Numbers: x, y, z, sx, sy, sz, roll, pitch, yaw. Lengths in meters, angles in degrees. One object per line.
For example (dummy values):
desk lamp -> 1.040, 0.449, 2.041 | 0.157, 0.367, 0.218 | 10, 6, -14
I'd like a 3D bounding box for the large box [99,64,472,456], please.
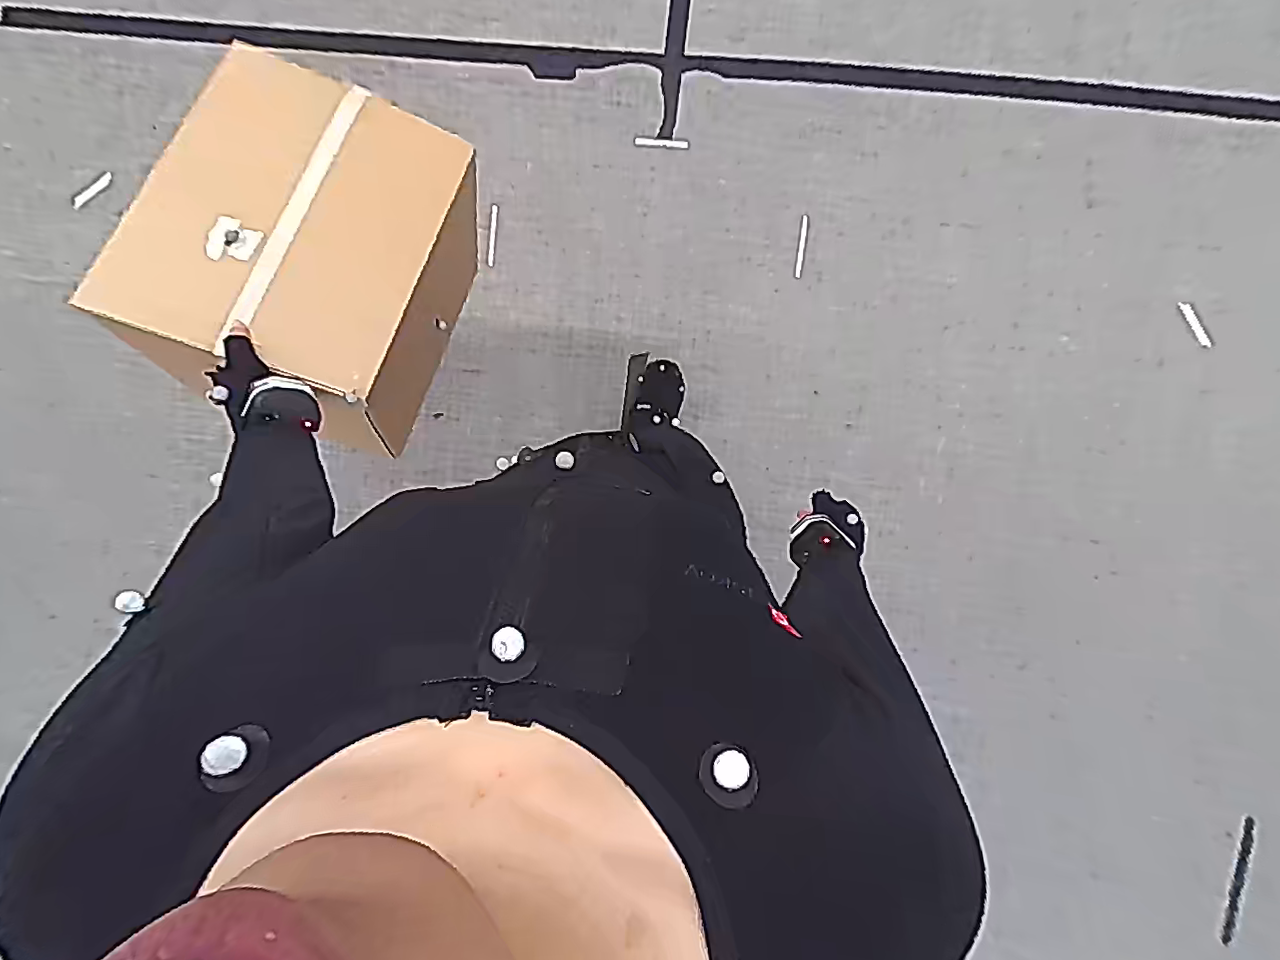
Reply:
large box -> -0.470, -0.298, 0.836 | 0.320, 0.320, 0.408 | 17, 74, -11
